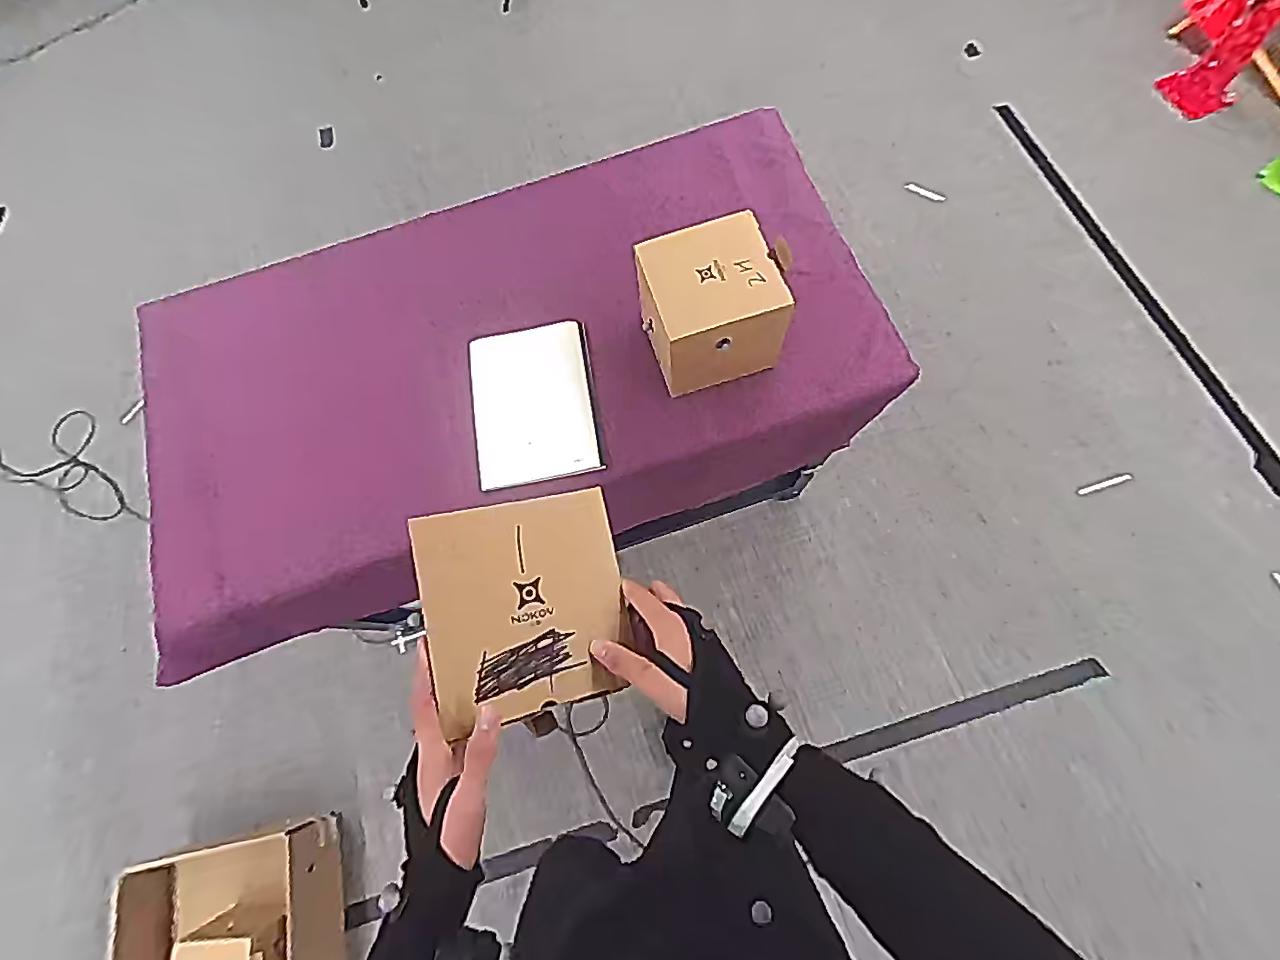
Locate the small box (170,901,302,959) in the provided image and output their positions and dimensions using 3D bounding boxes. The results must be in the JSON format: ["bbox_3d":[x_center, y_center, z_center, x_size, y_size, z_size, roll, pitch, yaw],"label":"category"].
[{"bbox_3d":[-0.875,1.049,1.175,0.179,0.176,0.168,-5,73,2],"label":"small box"}]

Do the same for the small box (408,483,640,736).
[{"bbox_3d":[-0.117,0.113,0.513,0.168,0.176,0.179,-9,80,-23],"label":"small box"}]

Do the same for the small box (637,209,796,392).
[{"bbox_3d":[0.106,-0.252,0.795,0.179,0.176,0.168,-17,72,-1],"label":"small box"}]
